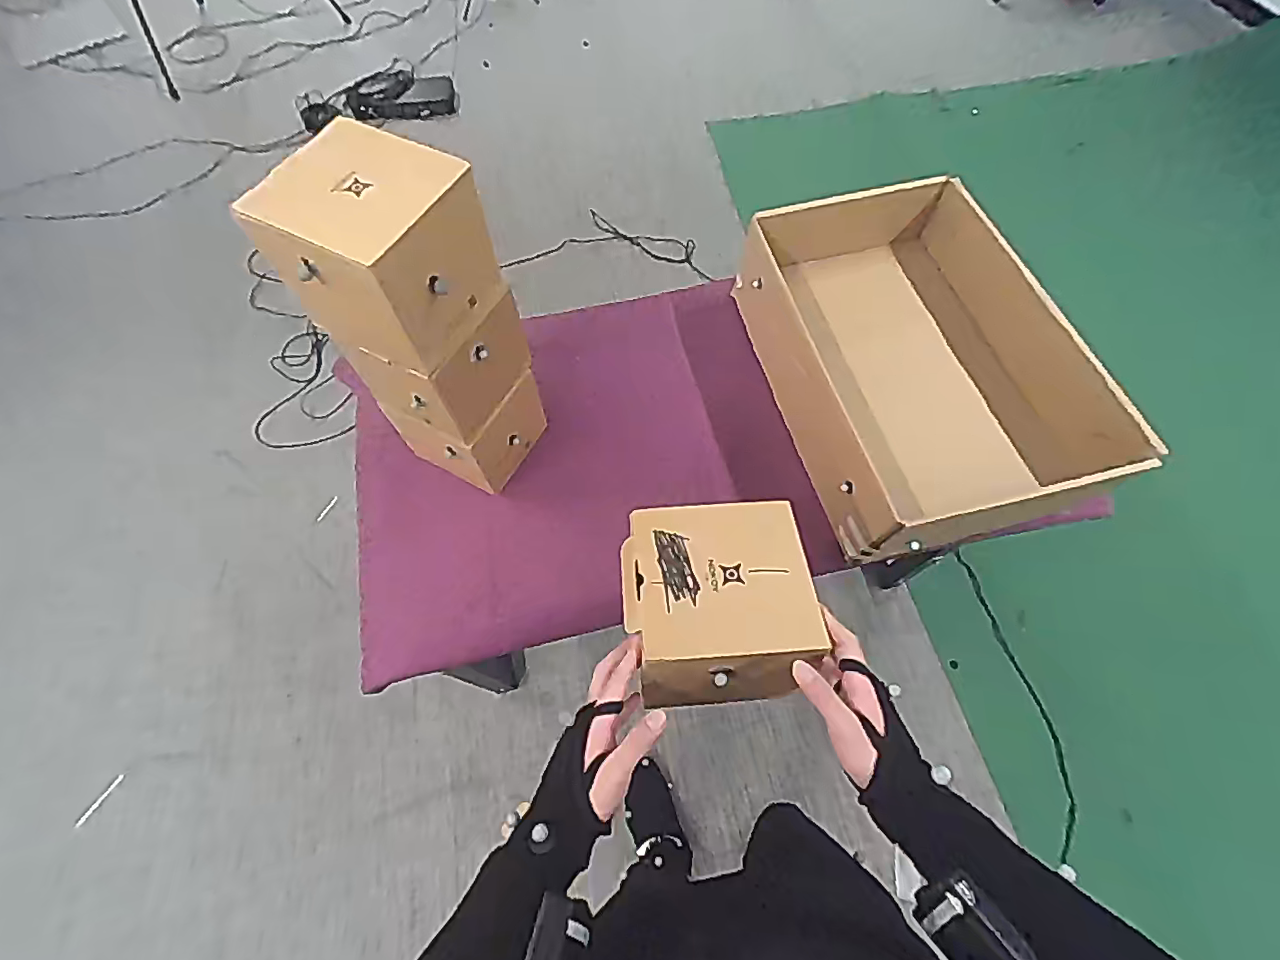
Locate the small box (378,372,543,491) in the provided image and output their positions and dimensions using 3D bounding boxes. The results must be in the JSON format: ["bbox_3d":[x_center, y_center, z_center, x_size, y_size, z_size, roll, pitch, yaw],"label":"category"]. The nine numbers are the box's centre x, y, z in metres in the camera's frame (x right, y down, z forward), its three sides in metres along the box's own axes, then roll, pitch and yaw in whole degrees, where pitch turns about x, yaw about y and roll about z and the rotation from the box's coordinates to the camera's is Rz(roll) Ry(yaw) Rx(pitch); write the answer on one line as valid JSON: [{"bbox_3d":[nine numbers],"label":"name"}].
[{"bbox_3d":[-0.282,-0.103,0.898,0.179,0.176,0.168,26,66,12],"label":"small box"}]

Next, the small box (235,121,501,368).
[{"bbox_3d":[-0.282,-0.253,0.611,0.179,0.176,0.168,25,67,11],"label":"small box"}]

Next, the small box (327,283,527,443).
[{"bbox_3d":[-0.278,-0.181,0.755,0.168,0.176,0.179,27,66,11],"label":"small box"}]

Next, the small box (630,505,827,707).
[{"bbox_3d":[0.081,0.145,0.601,0.179,0.176,0.168,-3,54,-3],"label":"small box"}]
